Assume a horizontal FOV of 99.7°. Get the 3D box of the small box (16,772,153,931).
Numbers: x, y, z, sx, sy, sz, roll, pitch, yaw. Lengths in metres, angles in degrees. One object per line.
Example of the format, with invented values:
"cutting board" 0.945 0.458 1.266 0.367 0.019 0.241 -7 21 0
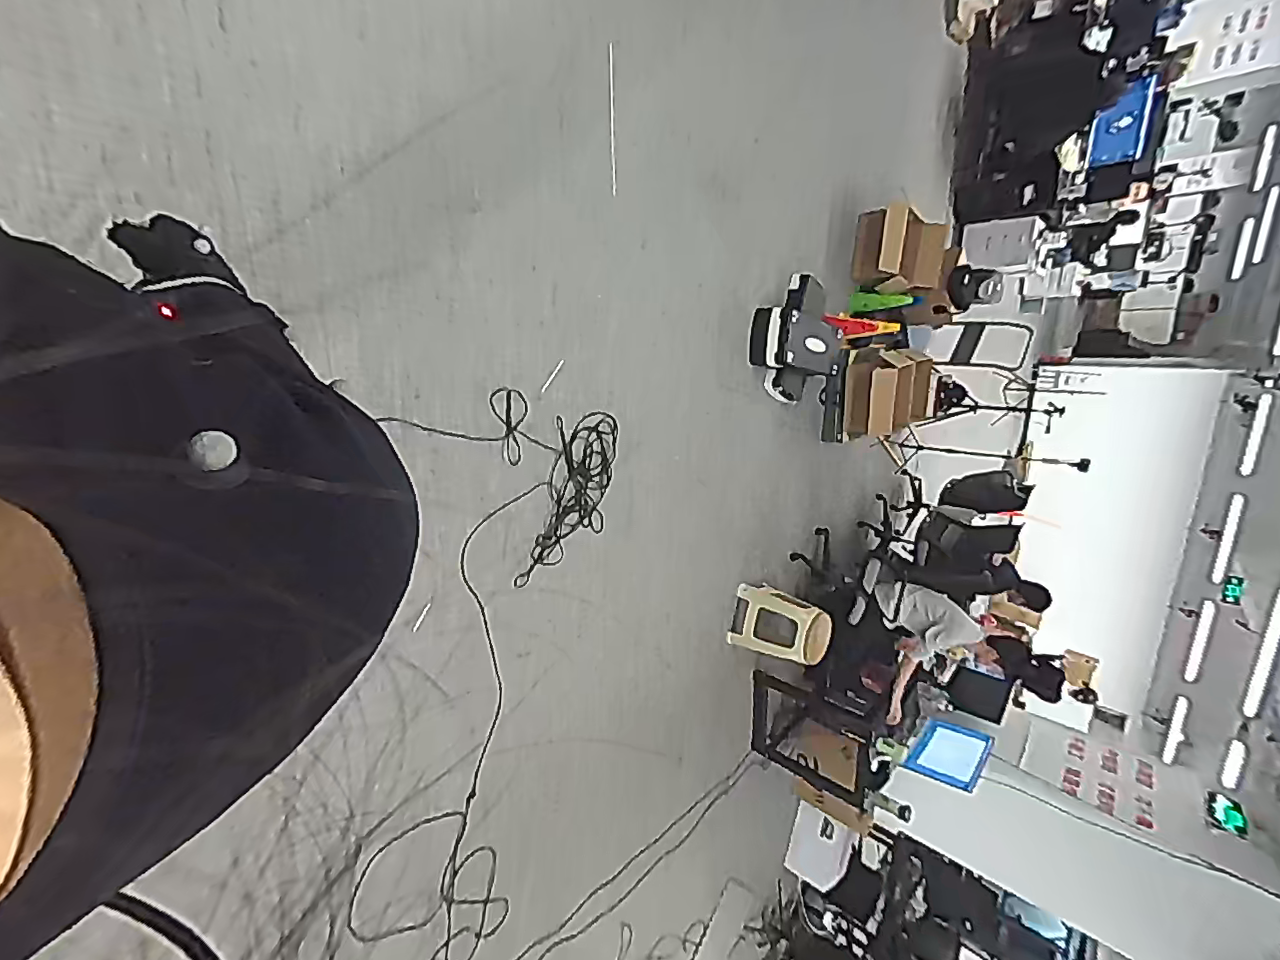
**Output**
"small box" -1.111 0.722 1.083 0.168 0.176 0.179 -13 108 -46
